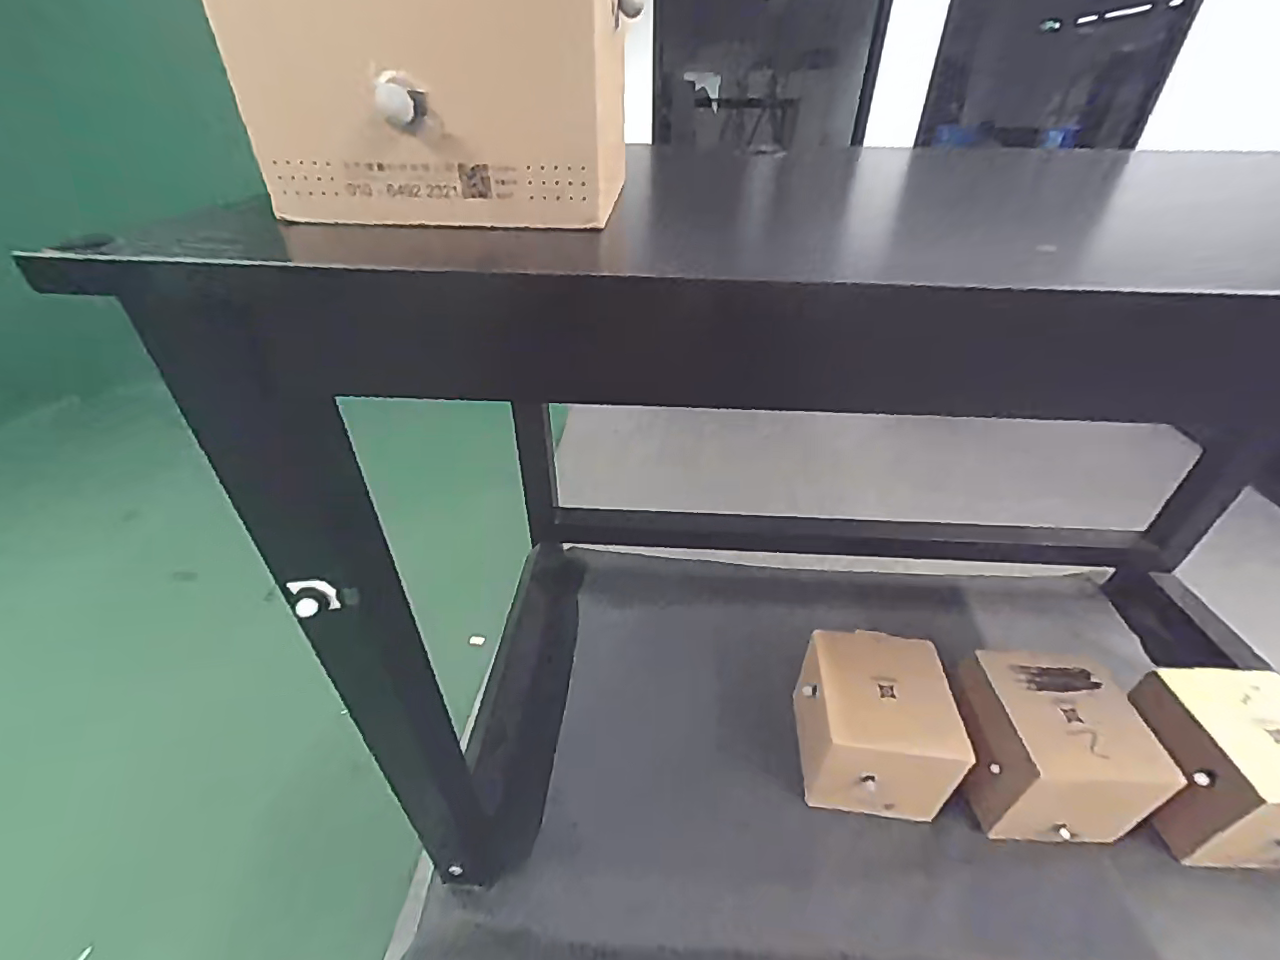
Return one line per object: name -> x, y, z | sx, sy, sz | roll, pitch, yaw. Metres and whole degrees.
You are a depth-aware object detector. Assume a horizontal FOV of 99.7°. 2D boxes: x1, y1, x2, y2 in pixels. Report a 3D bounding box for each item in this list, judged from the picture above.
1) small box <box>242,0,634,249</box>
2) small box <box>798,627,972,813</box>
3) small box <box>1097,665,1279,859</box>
small box -> -0.089, -0.237, 0.293 | 0.168, 0.176, 0.179 | 2, 37, 1
small box -> 0.324, 0.335, 0.757 | 0.168, 0.176, 0.179 | 5, 36, 6
small box -> 0.768, 0.369, 0.707 | 0.168, 0.176, 0.179 | 2, 35, 1
